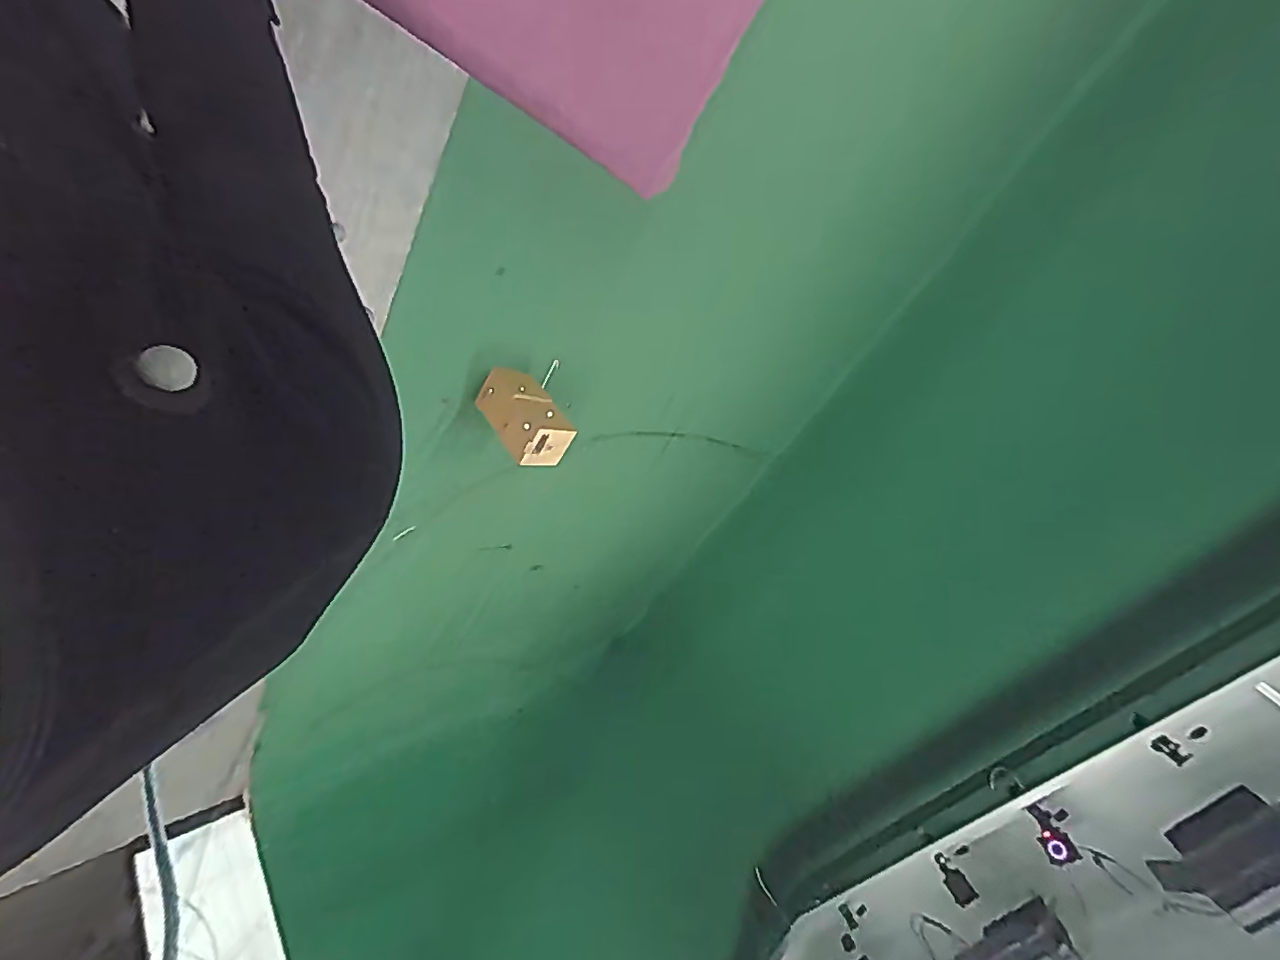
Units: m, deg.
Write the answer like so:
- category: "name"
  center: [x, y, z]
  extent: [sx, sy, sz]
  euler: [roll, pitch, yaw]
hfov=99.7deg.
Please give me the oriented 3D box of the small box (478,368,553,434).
- category: "small box"
  center: [-0.456, -0.289, 1.973]
  extent: [0.179, 0.176, 0.168]
  euler: [0, 133, -51]
